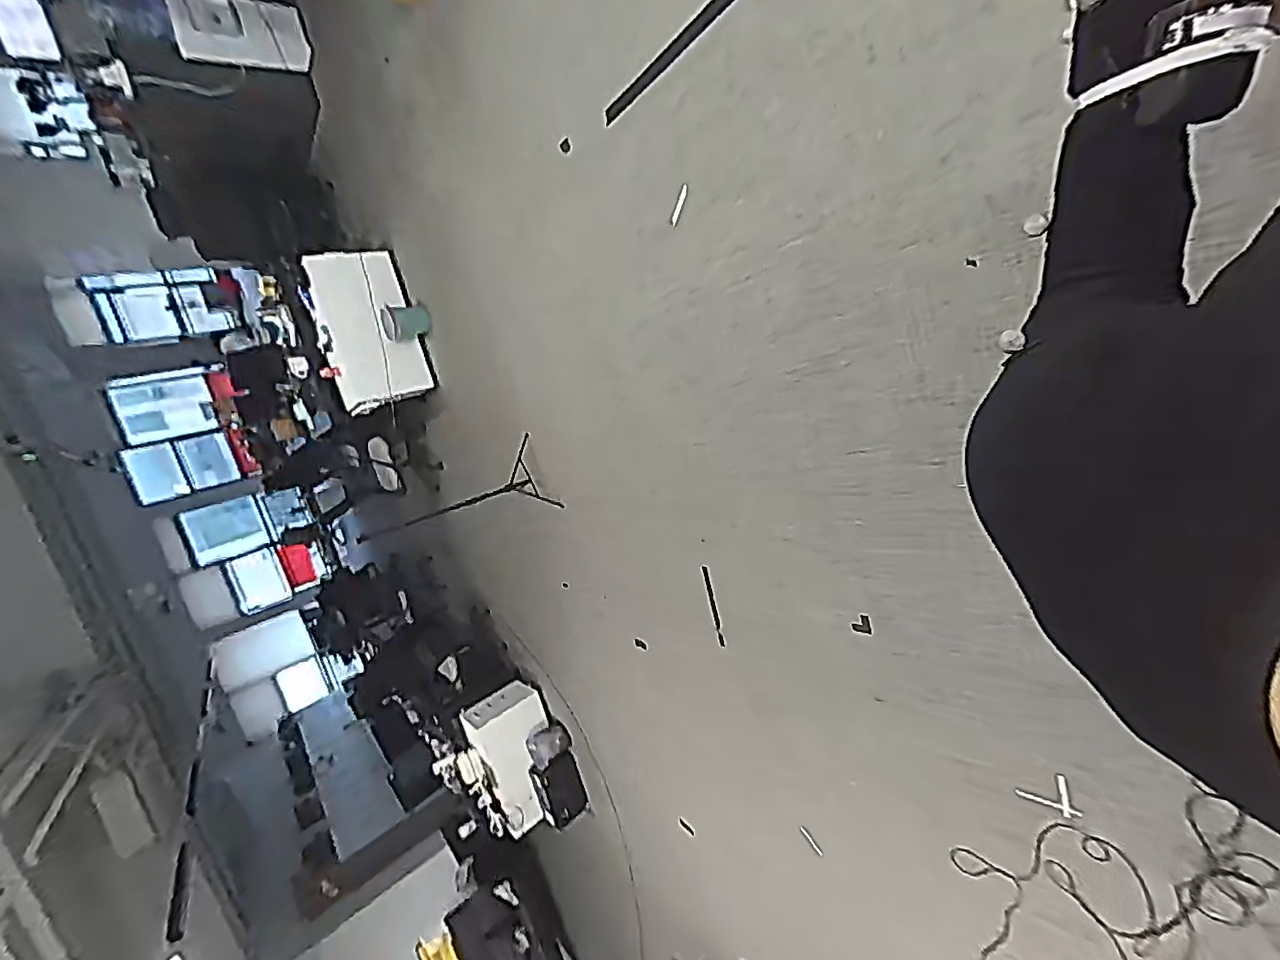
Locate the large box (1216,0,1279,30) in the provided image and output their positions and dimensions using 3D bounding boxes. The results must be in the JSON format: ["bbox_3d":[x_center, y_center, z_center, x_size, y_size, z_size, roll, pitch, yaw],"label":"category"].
[{"bbox_3d":[0.544,-0.483,0.224,0.408,0.320,0.320,10,120,52],"label":"large box"}]
